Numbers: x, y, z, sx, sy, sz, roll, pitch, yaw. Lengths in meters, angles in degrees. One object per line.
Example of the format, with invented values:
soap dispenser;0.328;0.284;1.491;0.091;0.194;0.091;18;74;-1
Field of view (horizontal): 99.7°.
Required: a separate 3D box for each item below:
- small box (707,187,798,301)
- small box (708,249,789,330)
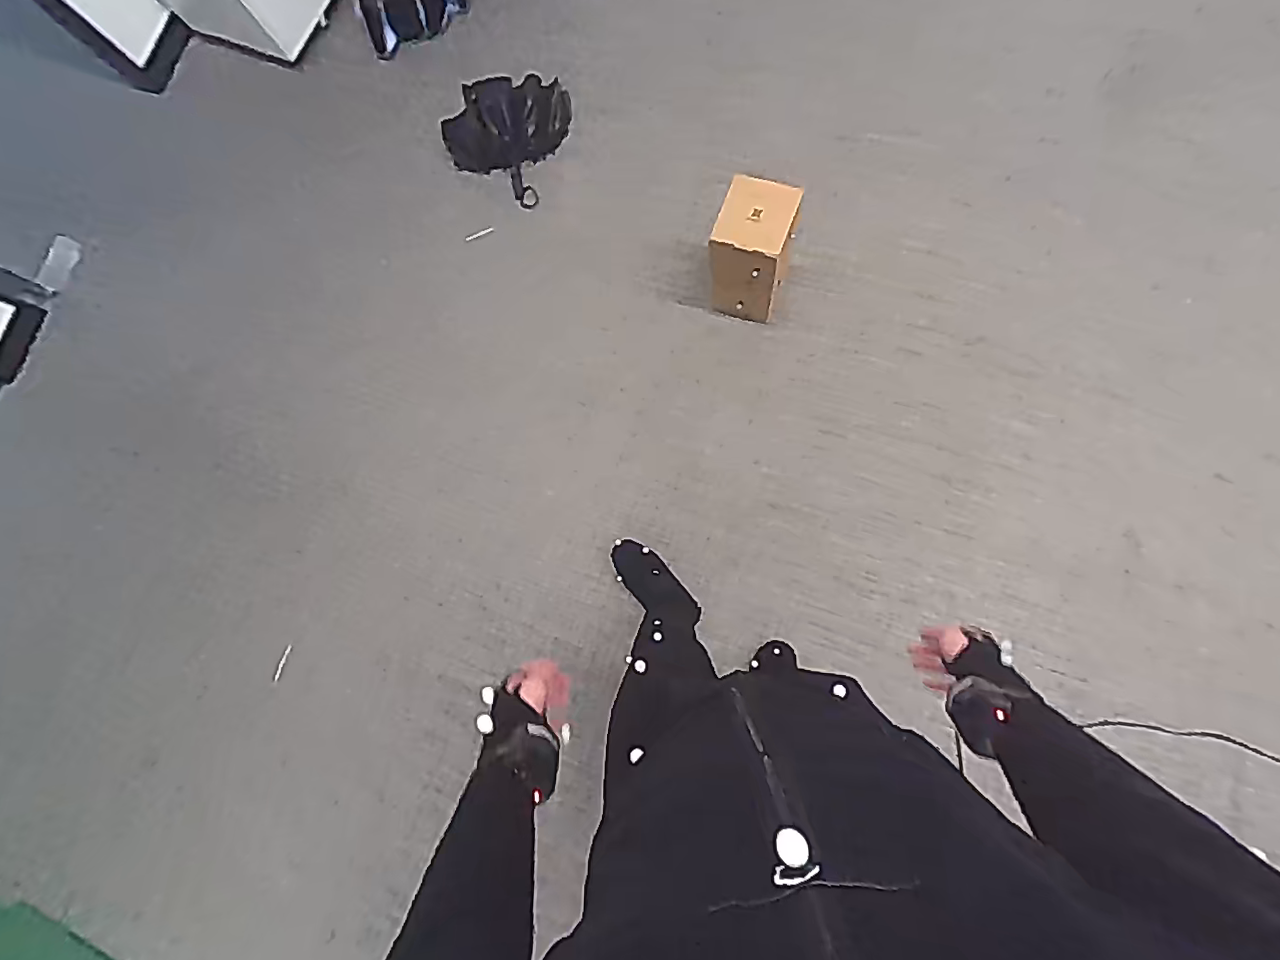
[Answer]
small box;0.271;-0.566;1.318;0.168;0.176;0.179;19;82;11
small box;0.296;-0.537;1.476;0.168;0.176;0.179;20;83;12
